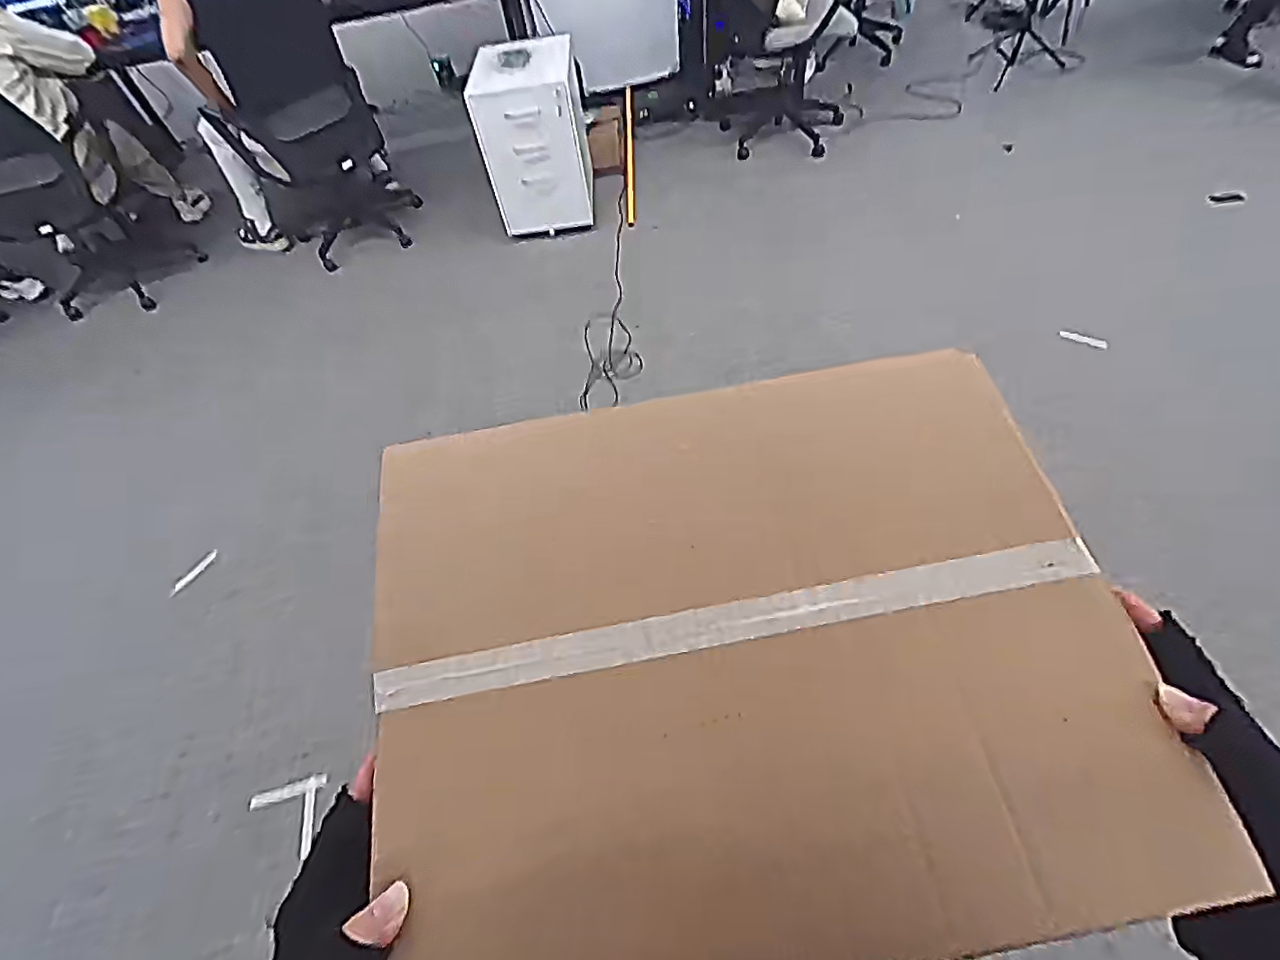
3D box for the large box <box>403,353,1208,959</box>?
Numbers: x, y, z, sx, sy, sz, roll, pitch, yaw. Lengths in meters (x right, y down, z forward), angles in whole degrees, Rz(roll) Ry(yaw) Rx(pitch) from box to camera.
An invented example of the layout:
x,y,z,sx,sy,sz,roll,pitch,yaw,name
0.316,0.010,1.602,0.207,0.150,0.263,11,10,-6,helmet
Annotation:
x,y,z,sx,sy,sz,roll,pitch,yaw,name
0.064,0.144,0.453,0.408,0.320,0.320,-11,65,-2,large box
